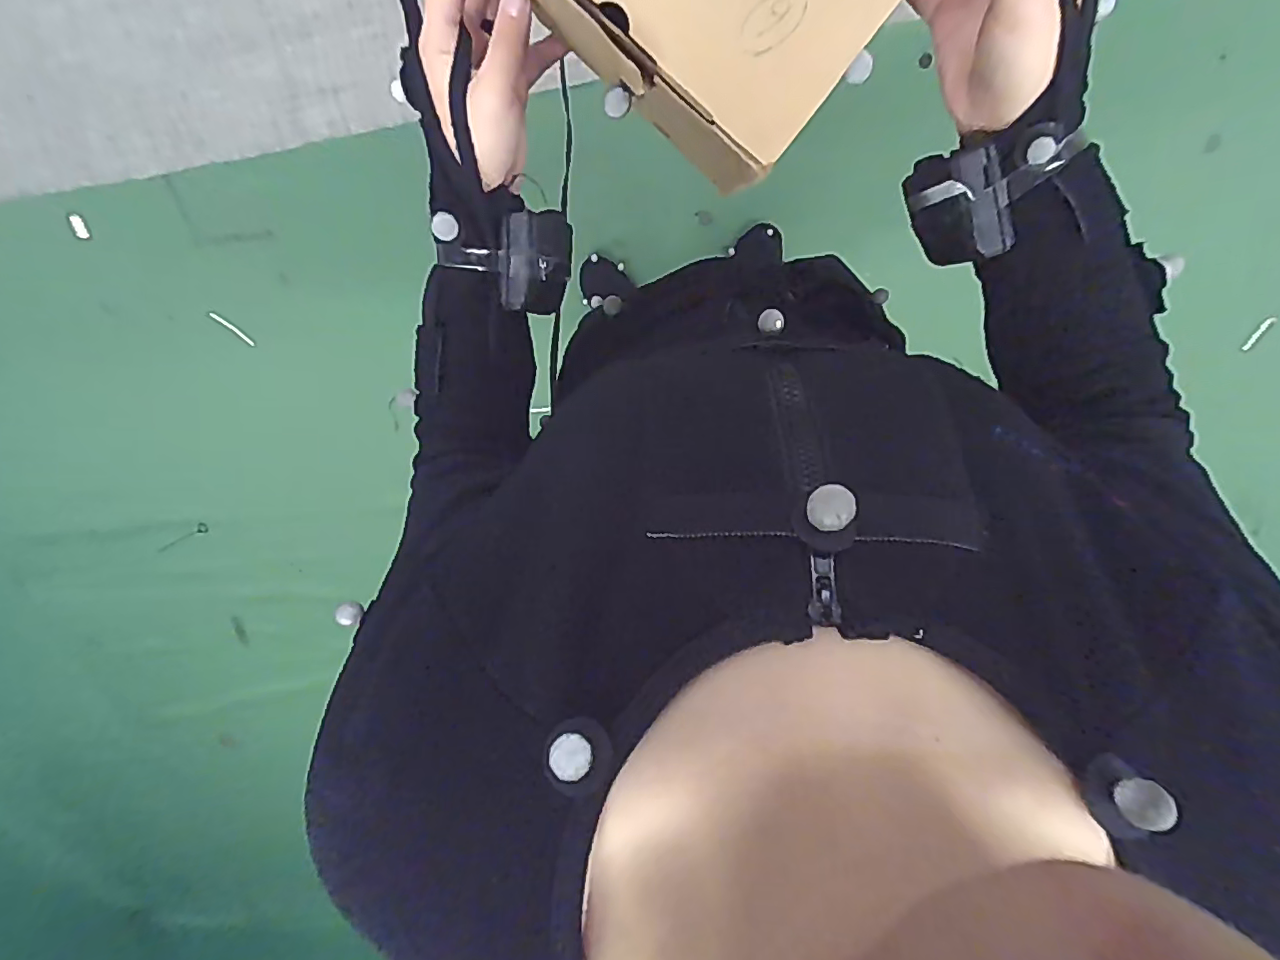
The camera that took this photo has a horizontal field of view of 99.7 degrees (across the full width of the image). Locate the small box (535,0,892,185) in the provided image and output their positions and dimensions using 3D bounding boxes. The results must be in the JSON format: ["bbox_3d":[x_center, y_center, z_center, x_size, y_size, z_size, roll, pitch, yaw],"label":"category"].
[{"bbox_3d":[0.046,-0.273,0.262,0.168,0.176,0.179,37,113,-12],"label":"small box"}]
